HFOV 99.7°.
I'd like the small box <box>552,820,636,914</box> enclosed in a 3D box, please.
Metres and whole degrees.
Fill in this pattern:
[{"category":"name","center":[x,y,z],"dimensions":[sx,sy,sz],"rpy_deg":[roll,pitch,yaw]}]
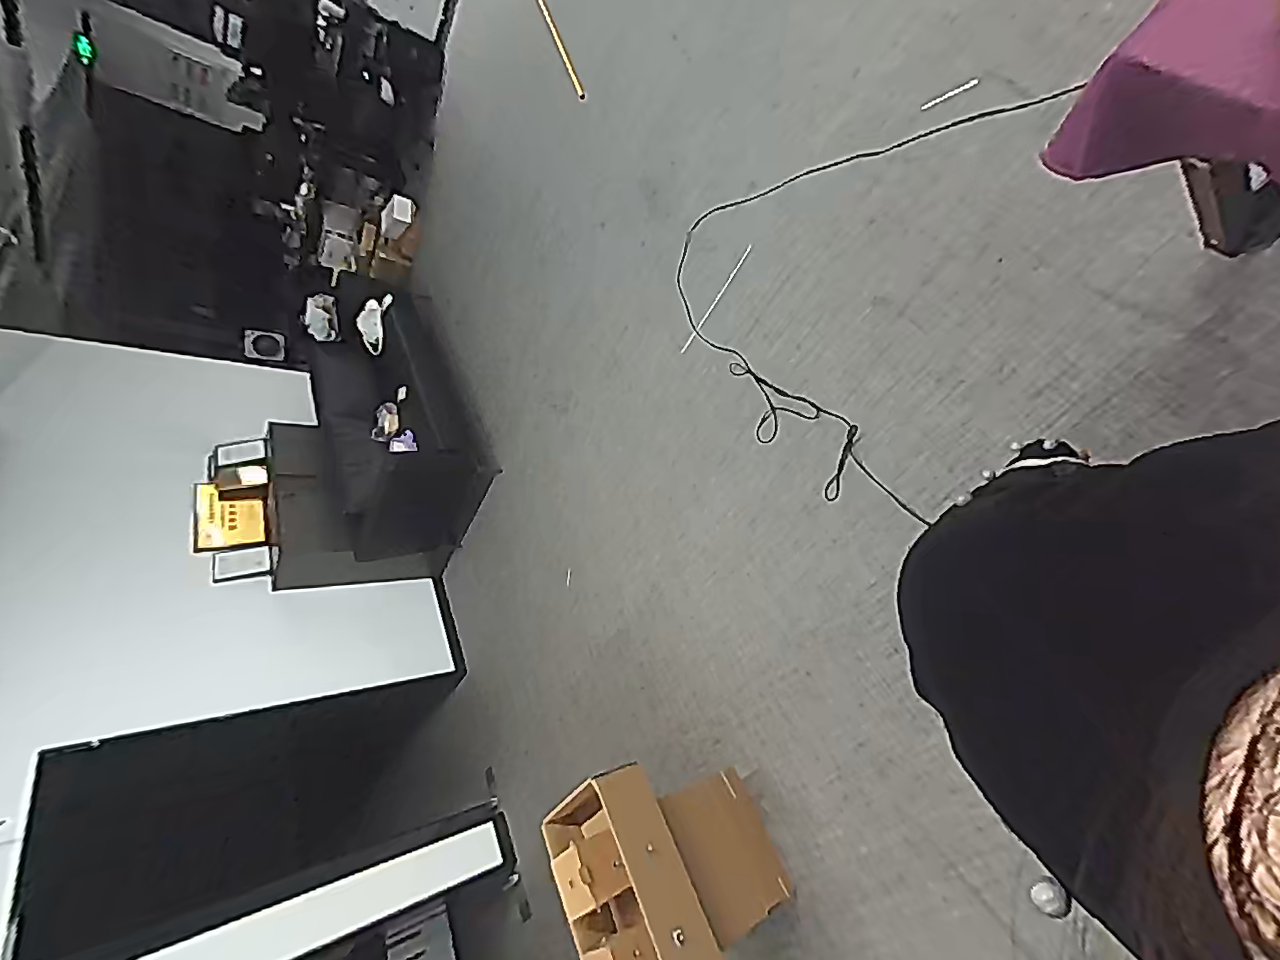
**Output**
[{"category":"small box","center":[-0.141,1.184,1.659],"dimensions":[0.179,0.176,0.168],"rpy_deg":[-54,51,32]}]
